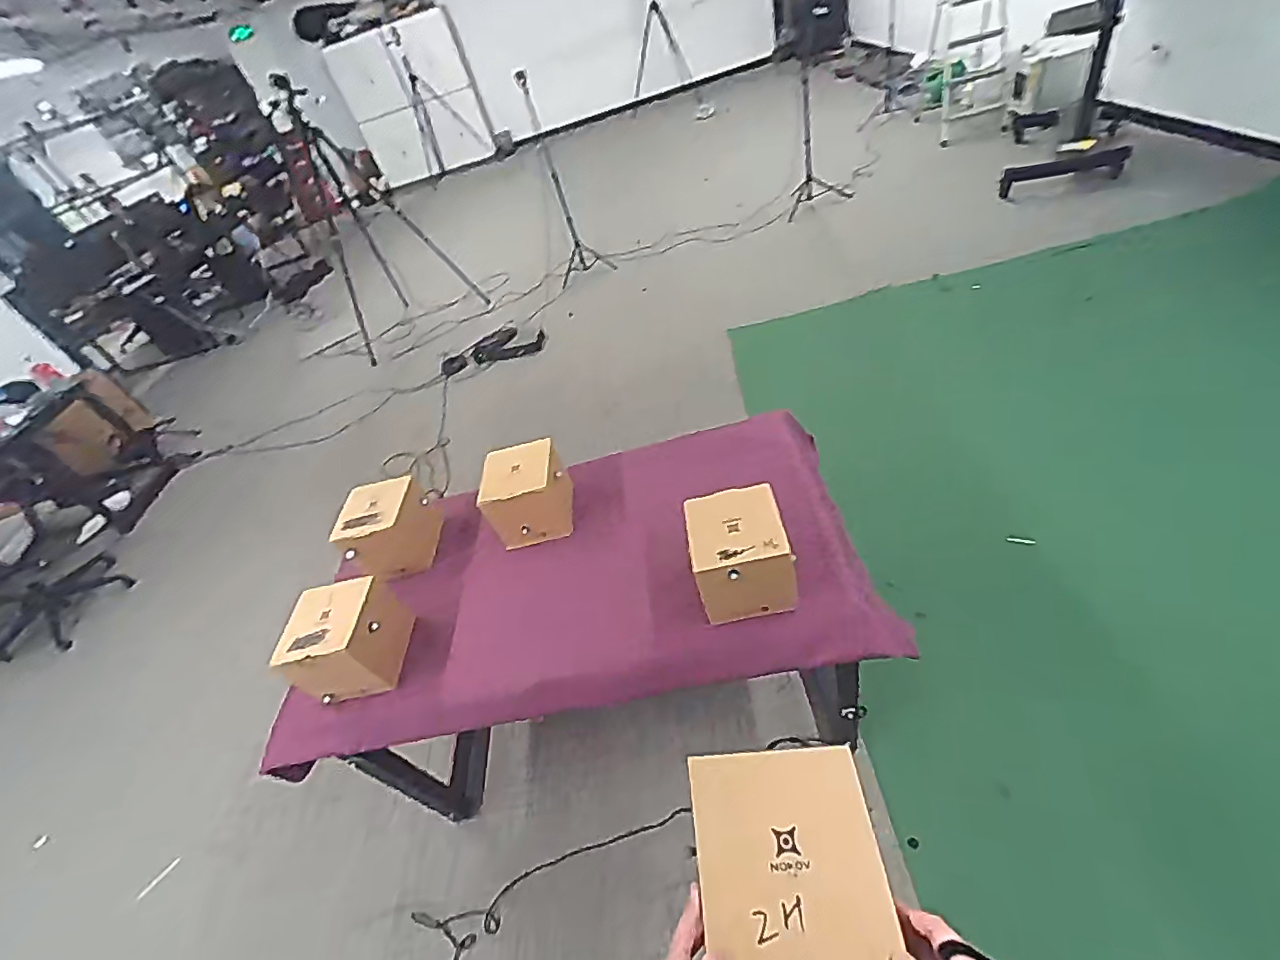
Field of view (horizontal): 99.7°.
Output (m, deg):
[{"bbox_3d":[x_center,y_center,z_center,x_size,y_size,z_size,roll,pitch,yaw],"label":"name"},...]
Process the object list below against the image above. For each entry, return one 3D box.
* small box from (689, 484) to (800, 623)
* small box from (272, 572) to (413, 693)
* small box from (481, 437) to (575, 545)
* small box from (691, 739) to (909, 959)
[{"bbox_3d":[0.193,0.137,1.008,0.168,0.176,0.179,-13,40,9],"label":"small box"},{"bbox_3d":[-0.596,0.321,1.113,0.168,0.176,0.179,-13,42,7],"label":"small box"},{"bbox_3d":[-0.259,0.028,1.297,0.168,0.176,0.179,-13,44,7],"label":"small box"},{"bbox_3d":[0.142,0.386,0.555,0.168,0.176,0.179,-6,50,3],"label":"small box"}]
